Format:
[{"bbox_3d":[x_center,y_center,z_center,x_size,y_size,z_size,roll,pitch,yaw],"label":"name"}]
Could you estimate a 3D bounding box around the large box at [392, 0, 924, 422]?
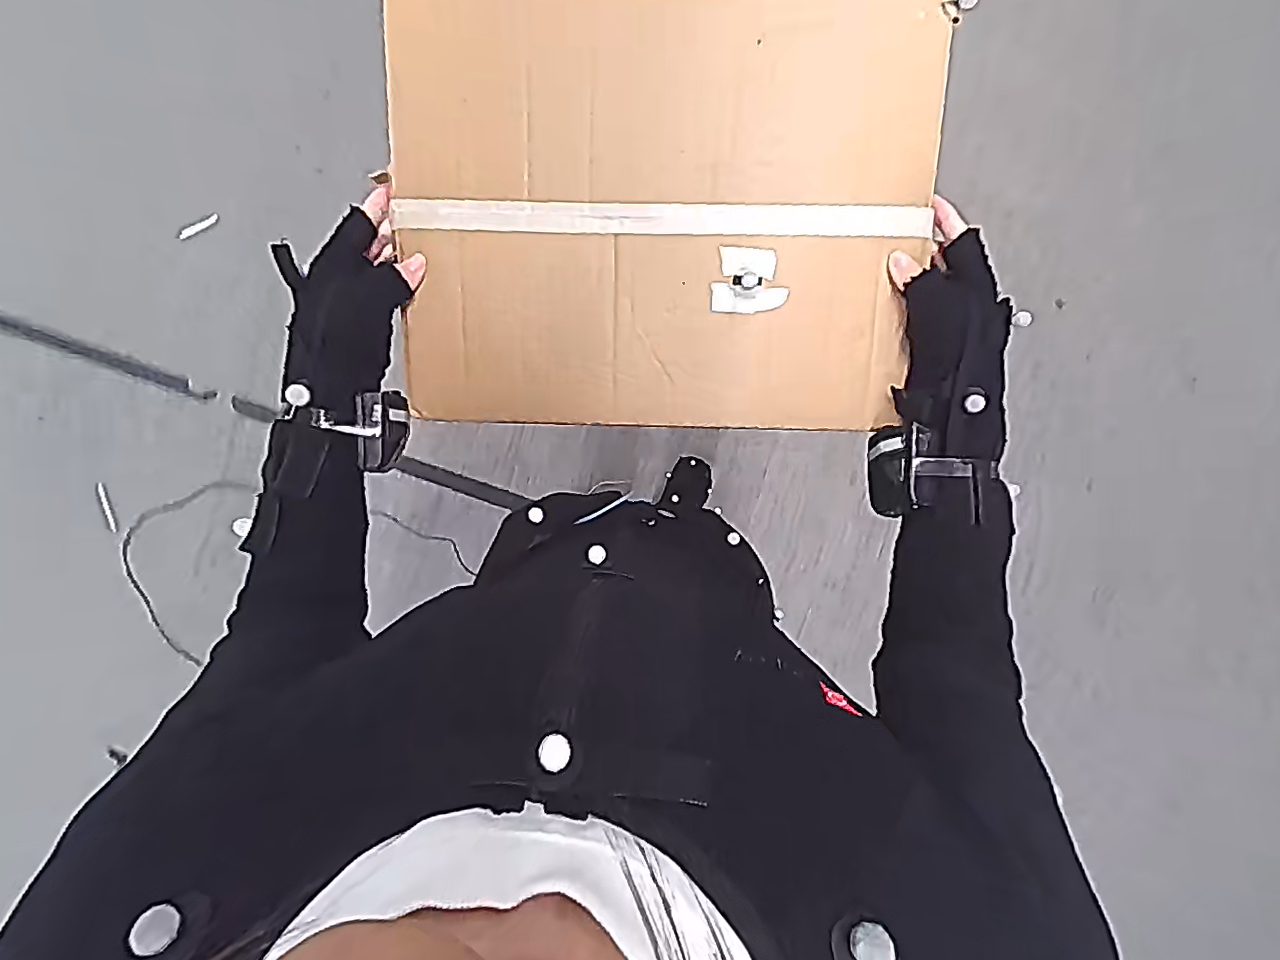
[{"bbox_3d":[0.013,-0.230,0.572,0.408,0.320,0.320,0,101,0],"label":"large box"}]
